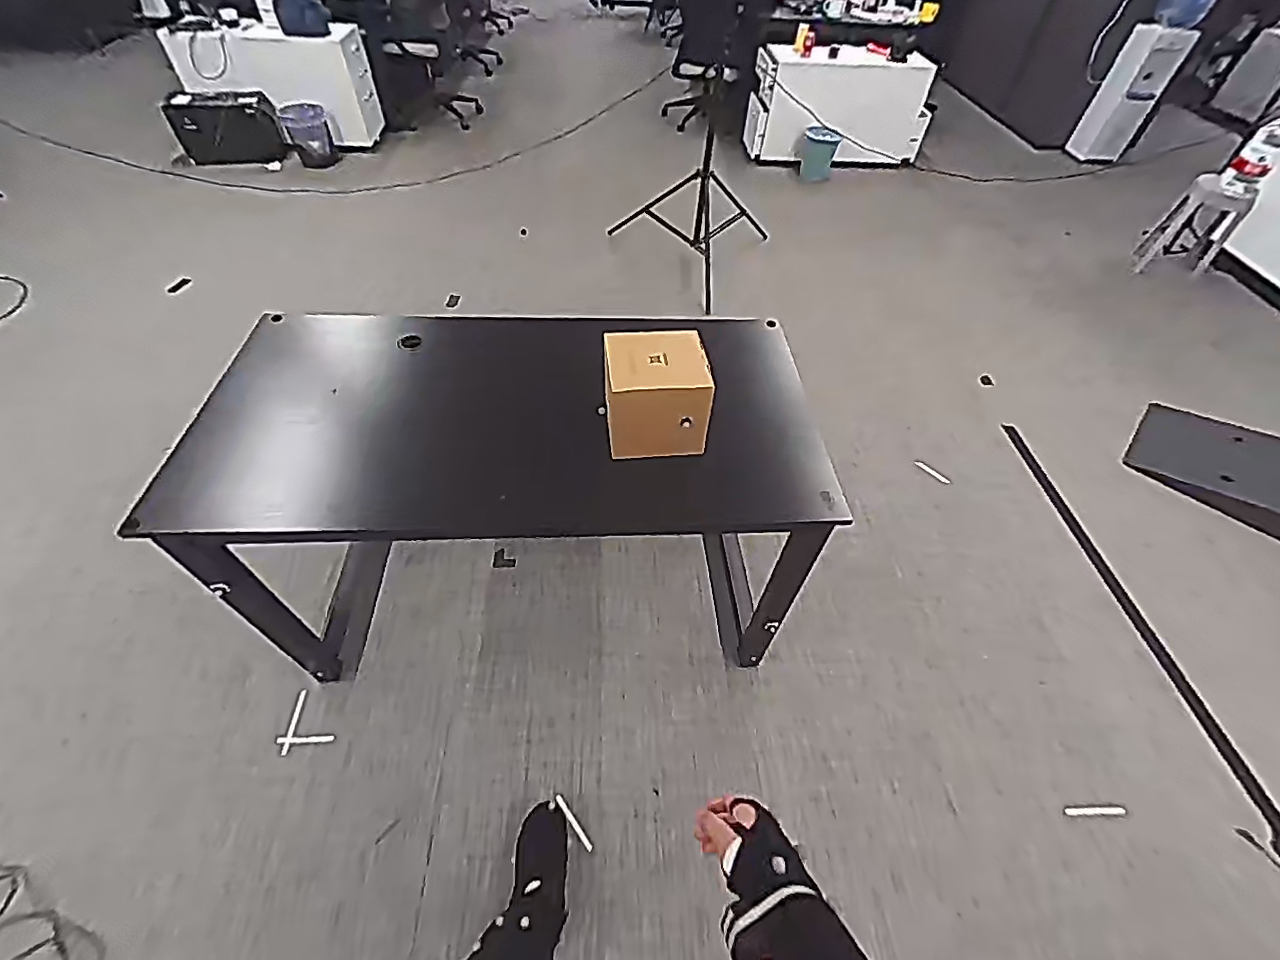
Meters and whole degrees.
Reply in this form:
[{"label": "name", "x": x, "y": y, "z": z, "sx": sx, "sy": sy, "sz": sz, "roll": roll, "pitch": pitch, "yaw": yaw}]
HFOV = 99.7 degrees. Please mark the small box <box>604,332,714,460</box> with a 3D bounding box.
[{"label": "small box", "x": 0.027, "y": -0.154, "z": 1.008, "sx": 0.179, "sy": 0.176, "sz": 0.168, "roll": -5, "pitch": 50, "yaw": -5}]
